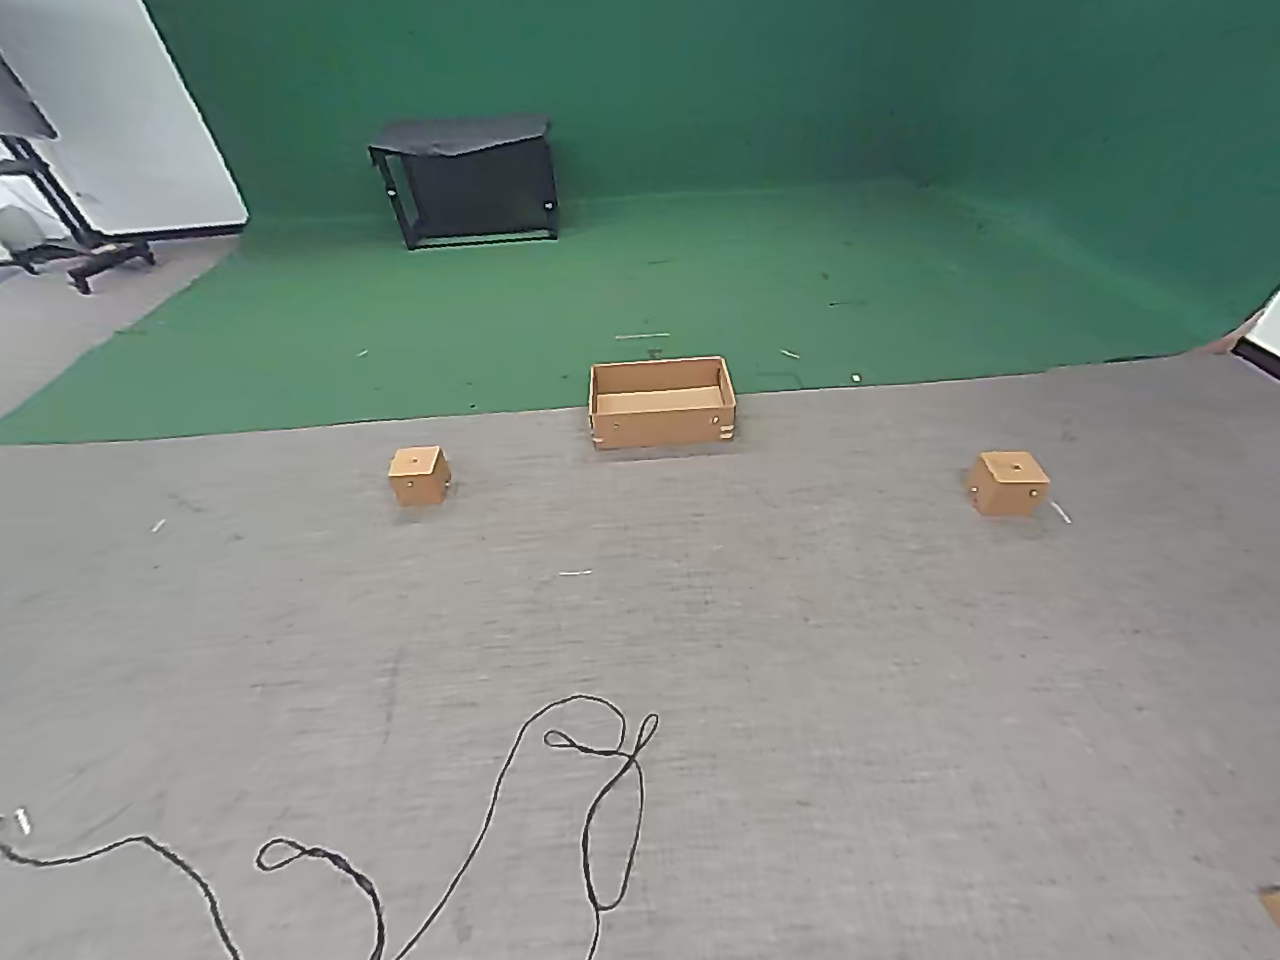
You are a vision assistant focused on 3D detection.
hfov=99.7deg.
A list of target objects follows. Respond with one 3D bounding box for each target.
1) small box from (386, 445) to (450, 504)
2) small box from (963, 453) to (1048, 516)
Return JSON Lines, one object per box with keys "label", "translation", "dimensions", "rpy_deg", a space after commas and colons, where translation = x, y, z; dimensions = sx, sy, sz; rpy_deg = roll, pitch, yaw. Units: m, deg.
{"label": "small box", "translation": [-0.883, -0.018, 2.164], "dimensions": [0.179, 0.176, 0.168], "rpy_deg": [-4, 45, -2]}
{"label": "small box", "translation": [1.316, 0.018, 1.960], "dimensions": [0.179, 0.176, 0.168], "rpy_deg": [0, 43, 4]}
